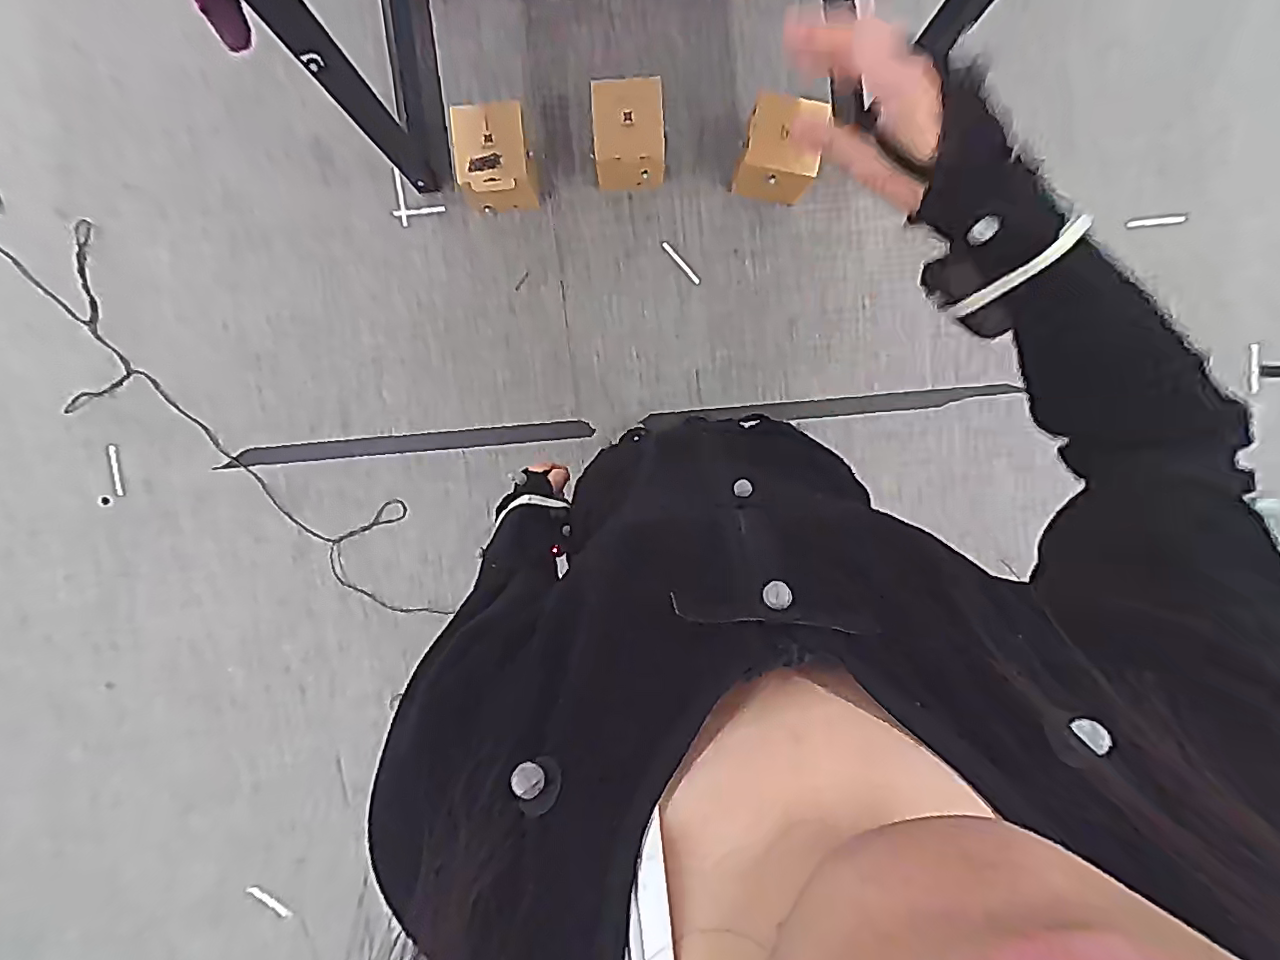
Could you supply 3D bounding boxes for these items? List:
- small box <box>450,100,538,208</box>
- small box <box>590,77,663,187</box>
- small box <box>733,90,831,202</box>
[{"bbox_3d":[-0.350,-0.786,1.326,0.168,0.176,0.179,-5,95,0],"label":"small box"},{"bbox_3d":[-0.031,-0.842,1.326,0.168,0.176,0.179,-4,95,-1],"label":"small box"},{"bbox_3d":[0.341,-0.813,1.335,0.179,0.176,0.168,11,96,0],"label":"small box"}]
